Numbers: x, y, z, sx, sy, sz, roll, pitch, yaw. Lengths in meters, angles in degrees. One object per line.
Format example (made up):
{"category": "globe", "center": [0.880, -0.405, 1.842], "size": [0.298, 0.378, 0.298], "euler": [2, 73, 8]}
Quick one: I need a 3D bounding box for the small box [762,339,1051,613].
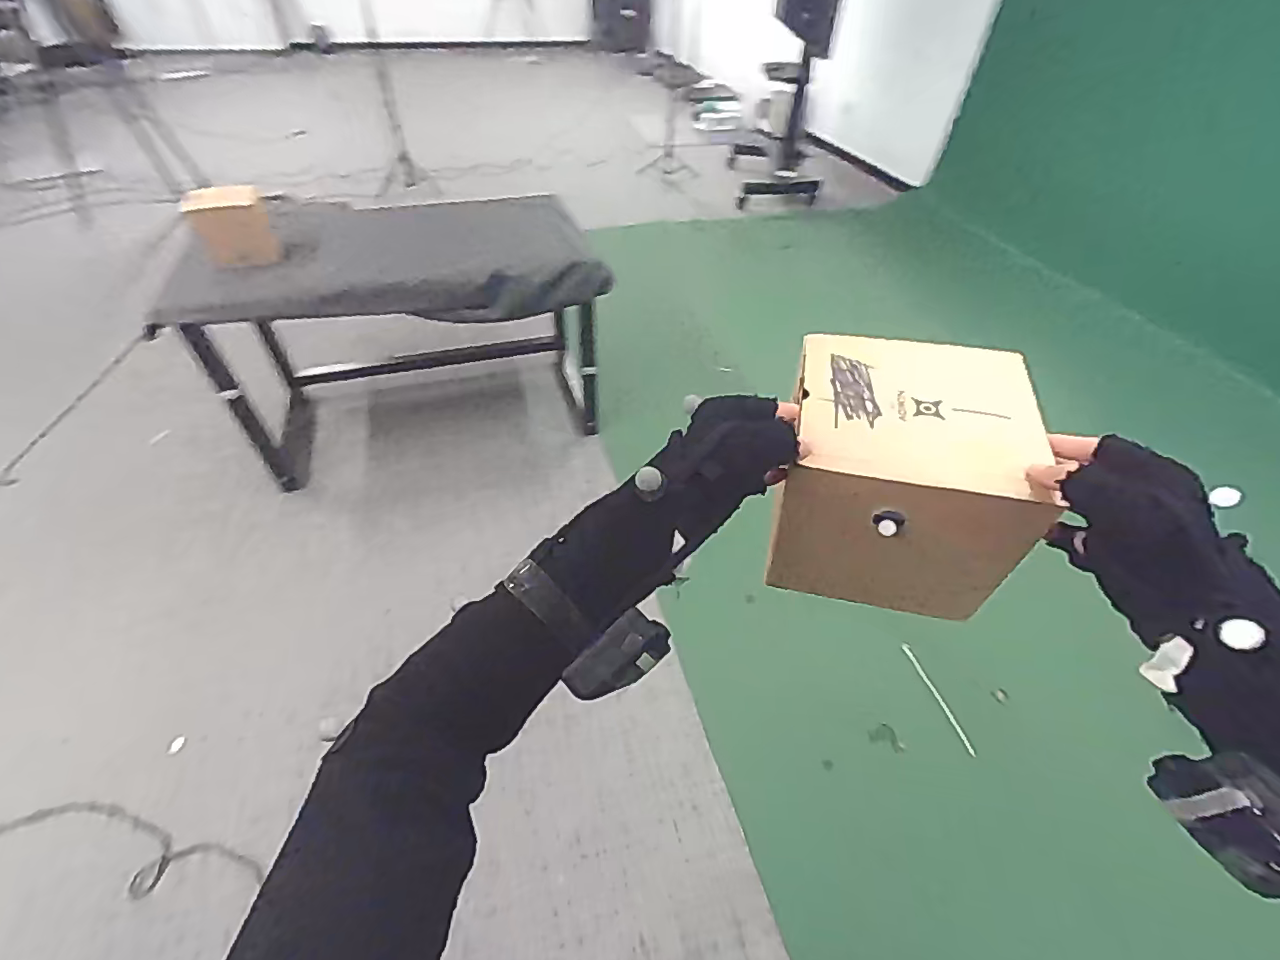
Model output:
{"category": "small box", "center": [0.210, -0.001, 0.481], "size": [0.179, 0.176, 0.168], "euler": [9, 51, 10]}

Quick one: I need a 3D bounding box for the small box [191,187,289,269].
{"category": "small box", "center": [-1.159, -0.739, 1.585], "size": [0.179, 0.176, 0.168], "euler": [-13, 48, -16]}
